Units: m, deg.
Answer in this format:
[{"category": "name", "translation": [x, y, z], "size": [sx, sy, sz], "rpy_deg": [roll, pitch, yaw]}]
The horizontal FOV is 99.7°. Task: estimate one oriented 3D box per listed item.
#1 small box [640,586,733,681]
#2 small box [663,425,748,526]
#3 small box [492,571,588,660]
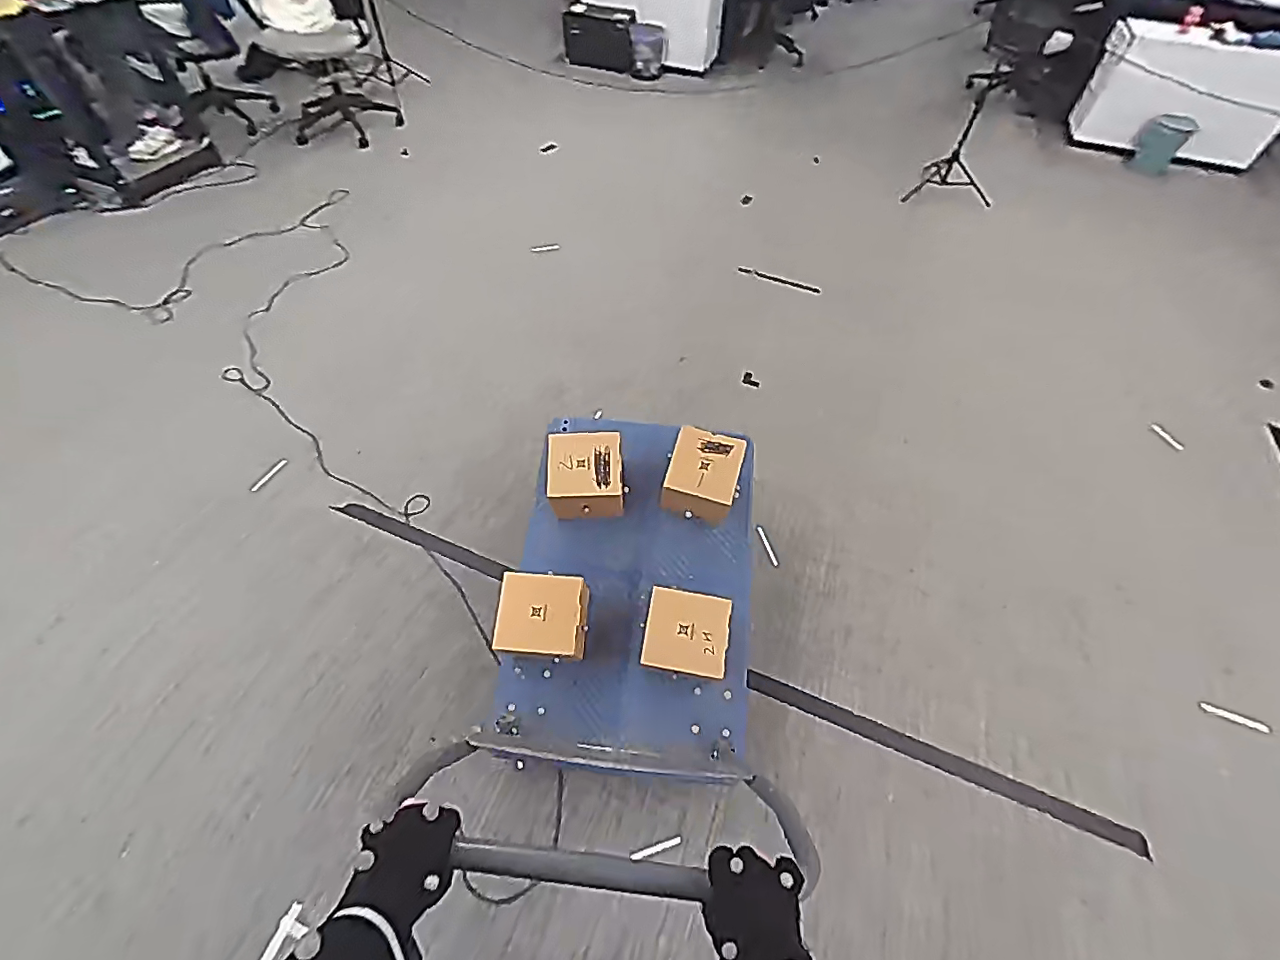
[{"category": "small box", "translation": [0.099, 0.349, 1.209], "size": [0.179, 0.176, 0.168], "rpy_deg": [10, 68, 3]}, {"category": "small box", "translation": [0.158, -0.007, 1.360], "size": [0.168, 0.176, 0.179], "rpy_deg": [16, 69, 6]}, {"category": "small box", "translation": [-0.217, 0.310, 1.220], "size": [0.179, 0.176, 0.168], "rpy_deg": [5, 67, -1]}]
